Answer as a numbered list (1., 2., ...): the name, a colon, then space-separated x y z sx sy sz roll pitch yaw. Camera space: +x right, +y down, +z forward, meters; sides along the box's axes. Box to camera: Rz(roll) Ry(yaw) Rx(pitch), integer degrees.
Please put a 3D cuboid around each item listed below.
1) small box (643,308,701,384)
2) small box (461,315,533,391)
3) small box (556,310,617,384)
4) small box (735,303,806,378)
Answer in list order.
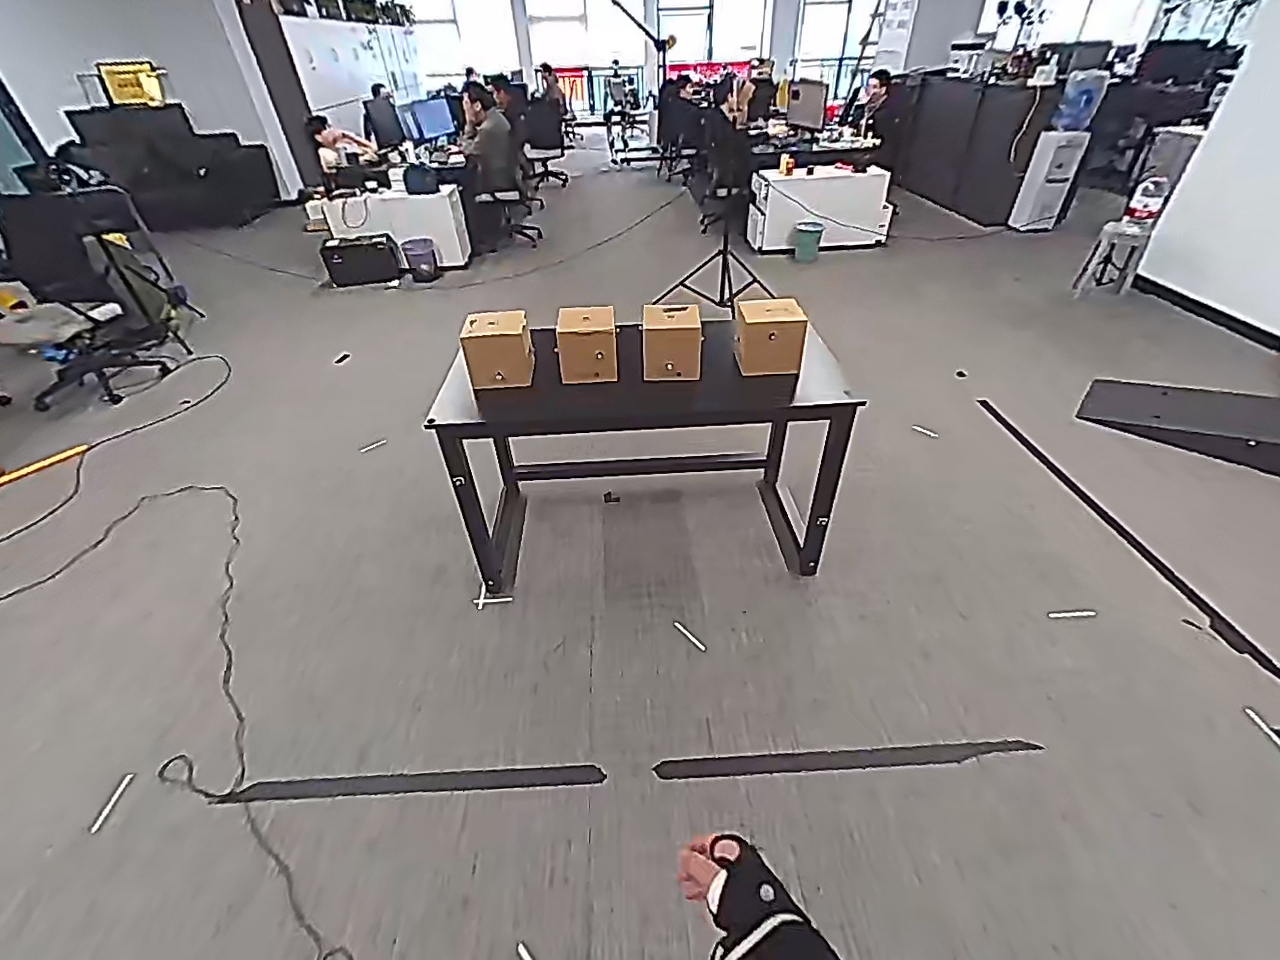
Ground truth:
1. small box: 0.092 -0.404 1.627 0.168 0.176 0.179 -1 39 2
2. small box: -0.418 -0.380 1.617 0.179 0.176 0.168 -4 38 -3
3. small box: -0.157 -0.398 1.632 0.168 0.176 0.179 -3 38 -2
4. small box: 0.384 -0.419 1.631 0.179 0.176 0.168 -2 39 0
